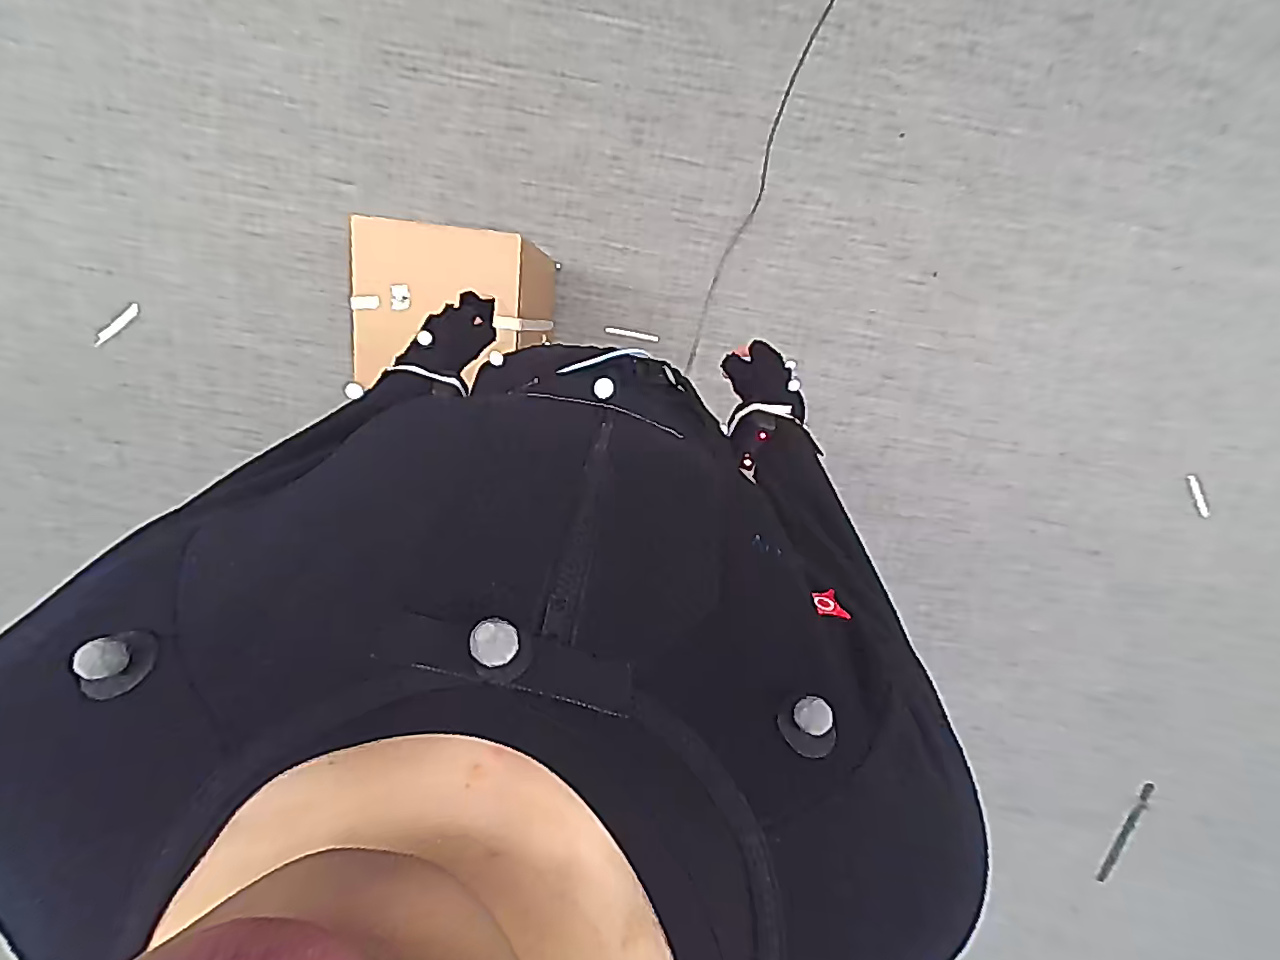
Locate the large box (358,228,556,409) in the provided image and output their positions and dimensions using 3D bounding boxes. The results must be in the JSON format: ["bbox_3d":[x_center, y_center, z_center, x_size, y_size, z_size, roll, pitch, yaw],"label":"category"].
[{"bbox_3d":[-0.379,-0.358,1.211,0.320,0.408,0.320,7,106,-2],"label":"large box"}]
